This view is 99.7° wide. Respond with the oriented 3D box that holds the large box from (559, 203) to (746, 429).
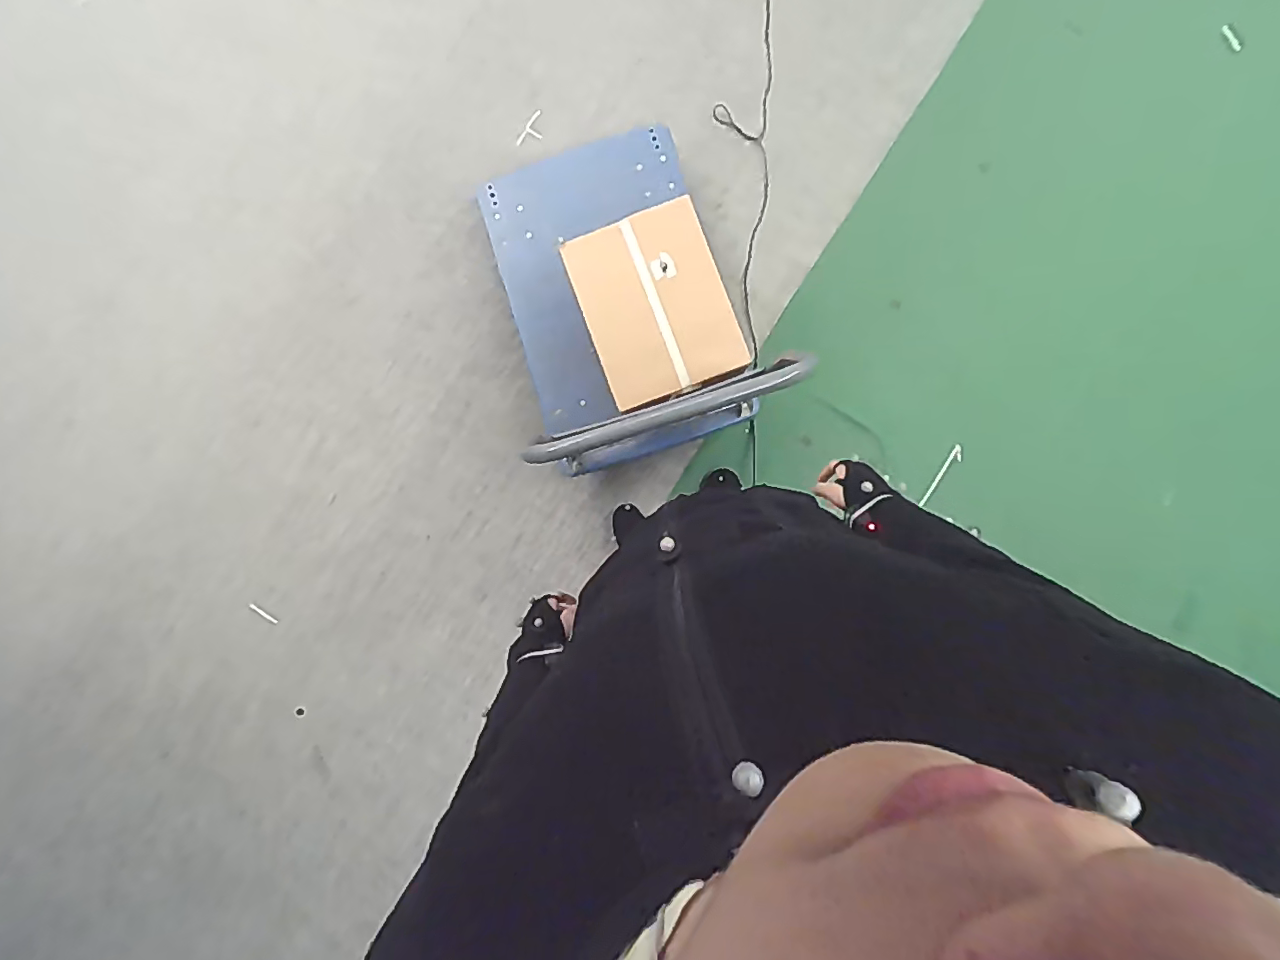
[{"bbox_3d":[0.035,-0.383,1.361,0.320,0.320,0.408,-20,87,1],"label":"large box"}]
